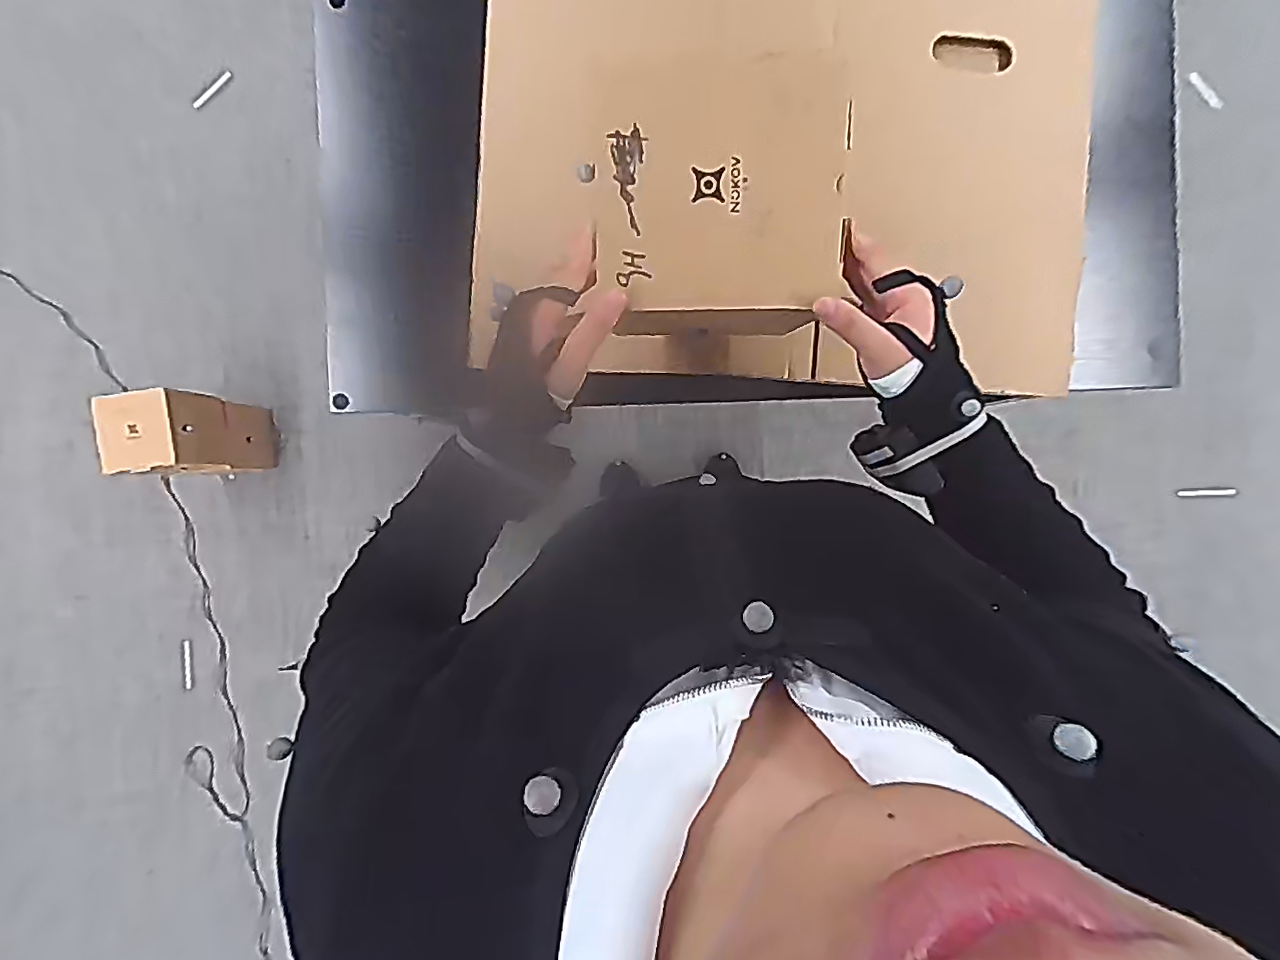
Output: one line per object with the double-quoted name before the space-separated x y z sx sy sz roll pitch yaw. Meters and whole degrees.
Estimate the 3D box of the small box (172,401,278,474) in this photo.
"small box" -1.106 -0.108 1.439 0.168 0.176 0.179 -6 92 1

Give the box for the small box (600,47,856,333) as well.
"small box" 0.058 -0.219 0.454 0.179 0.176 0.168 0 98 0

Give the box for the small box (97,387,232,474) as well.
"small box" -1.109 -0.111 1.276 0.168 0.176 0.179 -8 90 0
